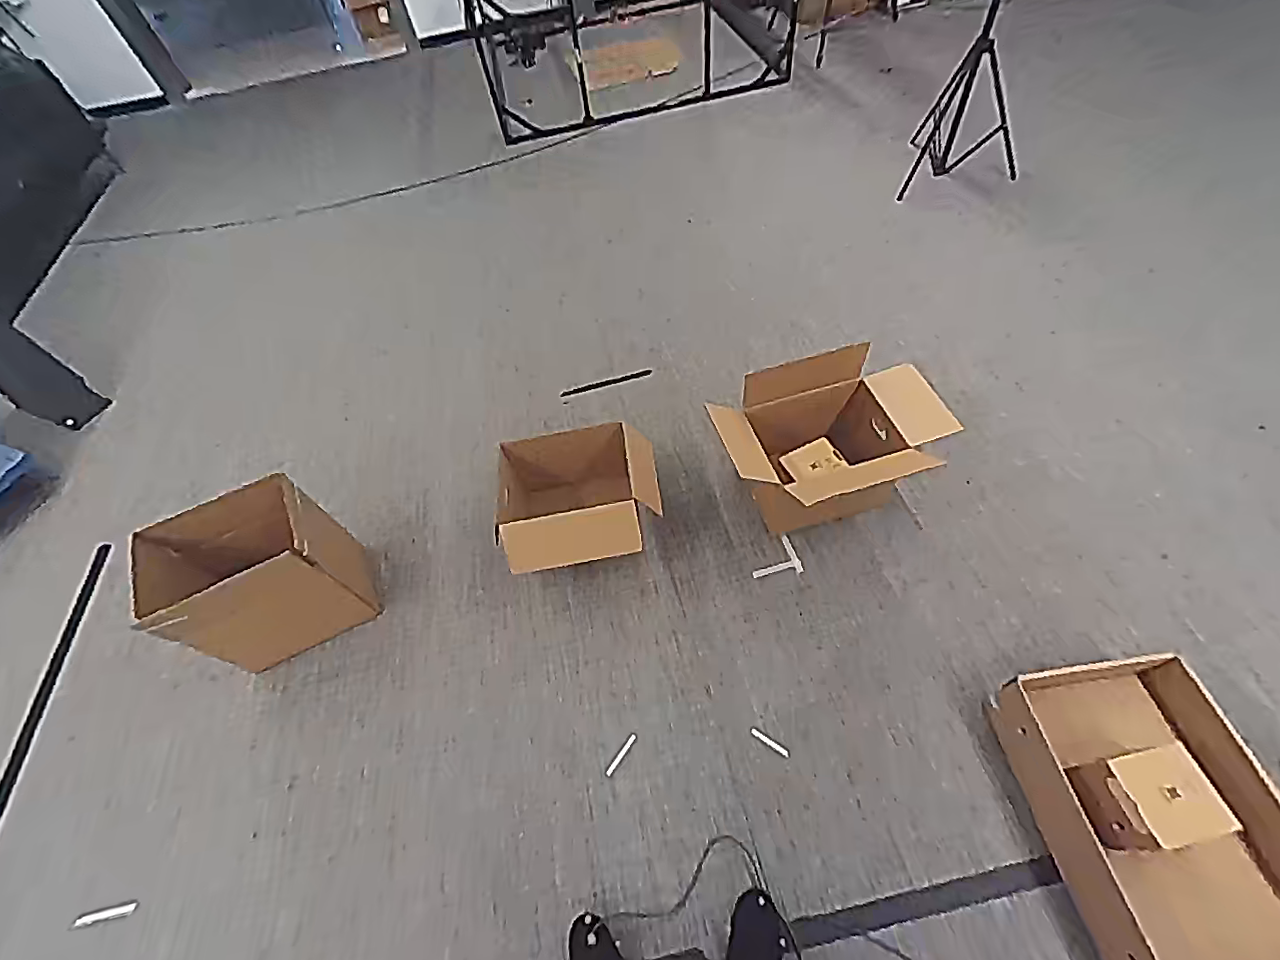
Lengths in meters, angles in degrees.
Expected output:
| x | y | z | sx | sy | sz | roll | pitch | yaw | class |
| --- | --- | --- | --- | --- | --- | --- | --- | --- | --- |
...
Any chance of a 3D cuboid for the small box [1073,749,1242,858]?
| x | y | z | sx | sy | sz | roll | pitch | yaw | class |
| --- | --- | --- | --- | --- | --- | --- | --- | --- | --- |
| 1.091 | 0.700 | 1.165 | 0.179 | 0.176 | 0.168 | -13 | 56 | -2 | small box |
